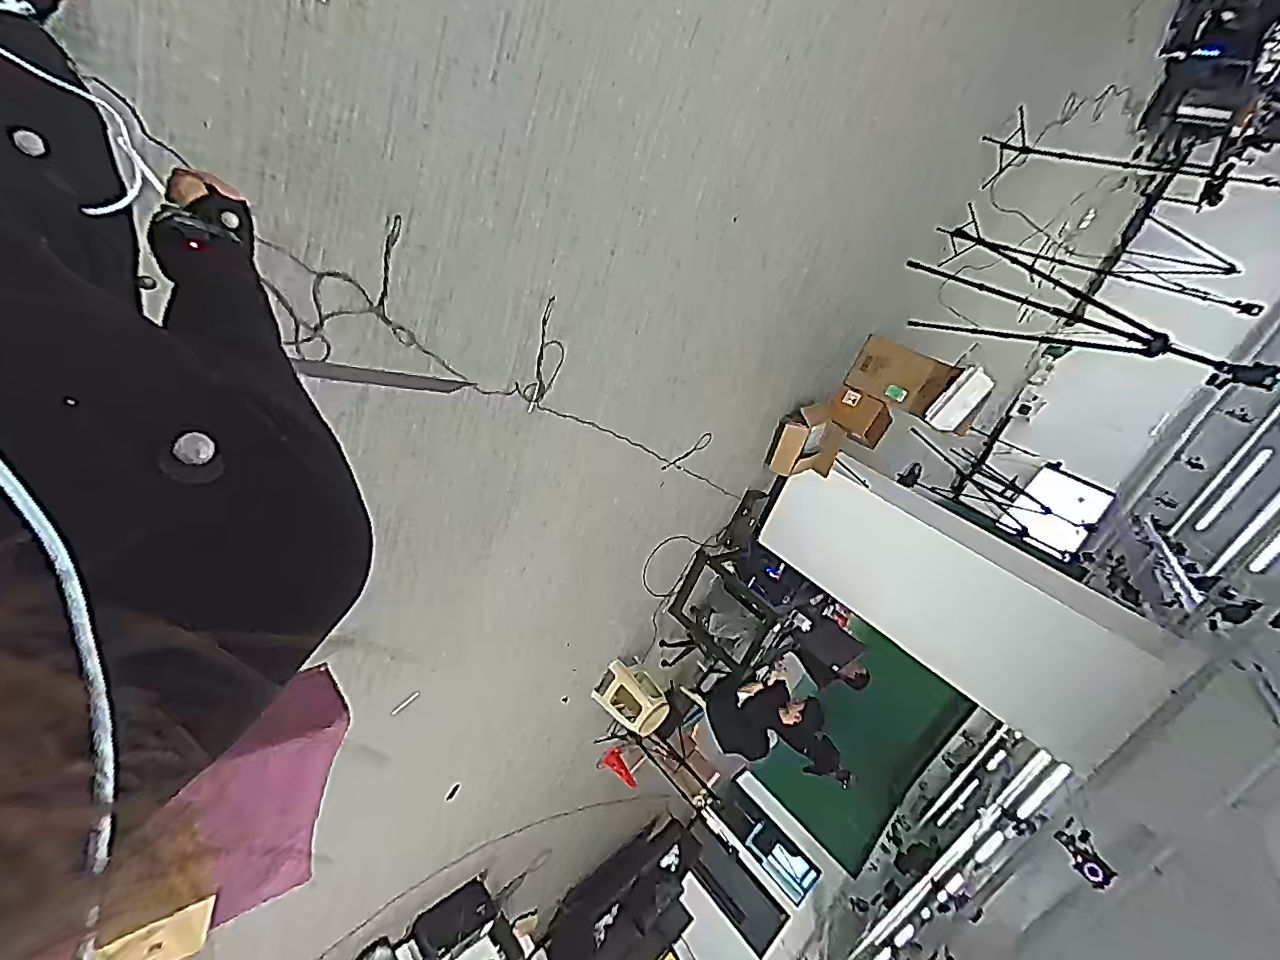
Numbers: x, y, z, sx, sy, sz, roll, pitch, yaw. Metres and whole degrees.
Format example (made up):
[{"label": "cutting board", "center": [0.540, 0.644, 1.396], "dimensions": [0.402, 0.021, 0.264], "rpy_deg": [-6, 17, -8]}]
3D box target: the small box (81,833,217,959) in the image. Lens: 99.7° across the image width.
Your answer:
[{"label": "small box", "center": [-0.948, 0.826, 1.041], "dimensions": [0.168, 0.176, 0.179], "rpy_deg": [1, 120, -51]}]
